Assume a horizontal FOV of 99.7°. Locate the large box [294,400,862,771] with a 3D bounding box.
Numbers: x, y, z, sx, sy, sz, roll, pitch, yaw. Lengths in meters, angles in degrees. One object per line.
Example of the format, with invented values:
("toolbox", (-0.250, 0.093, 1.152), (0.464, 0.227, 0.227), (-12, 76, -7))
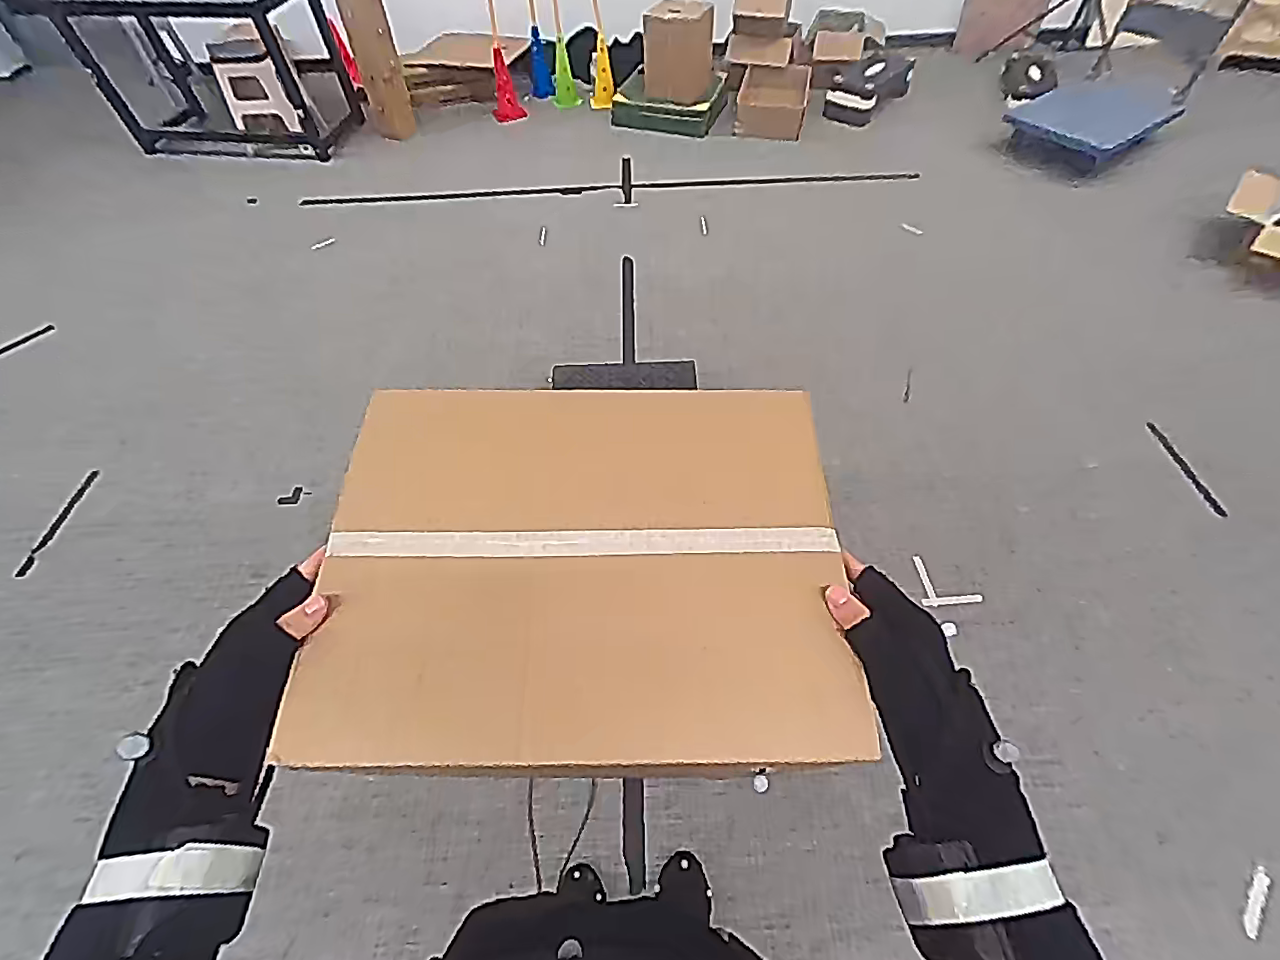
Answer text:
("large box", (-0.043, 0.131, 0.575), (0.408, 0.320, 0.320), (0, 60, -1))
